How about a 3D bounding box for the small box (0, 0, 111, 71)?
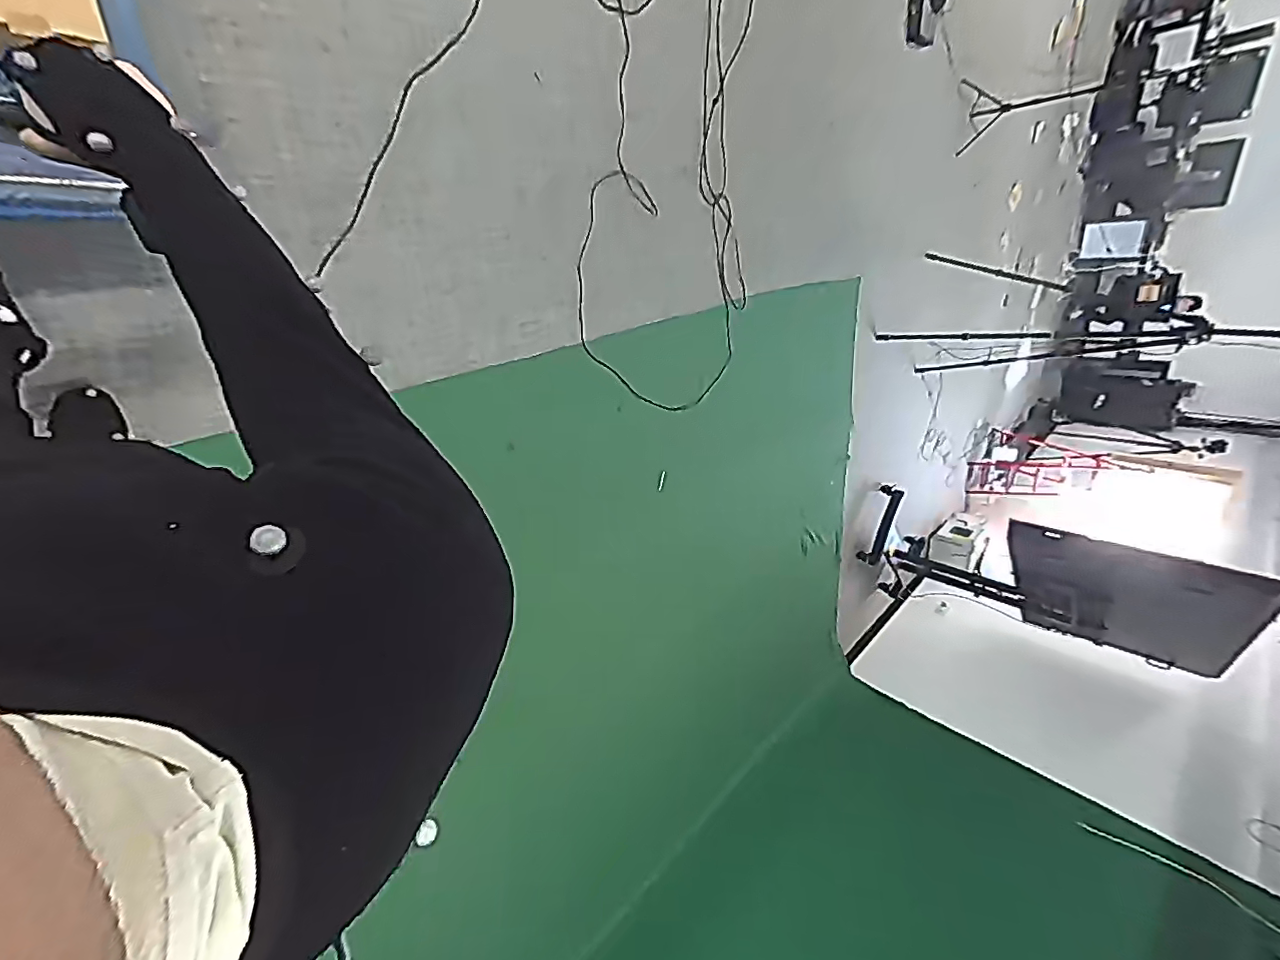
[{"bbox_3d":[-0.915,-0.737,0.788,0.168,0.176,0.179,-20,118,-40],"label":"small box"}]
